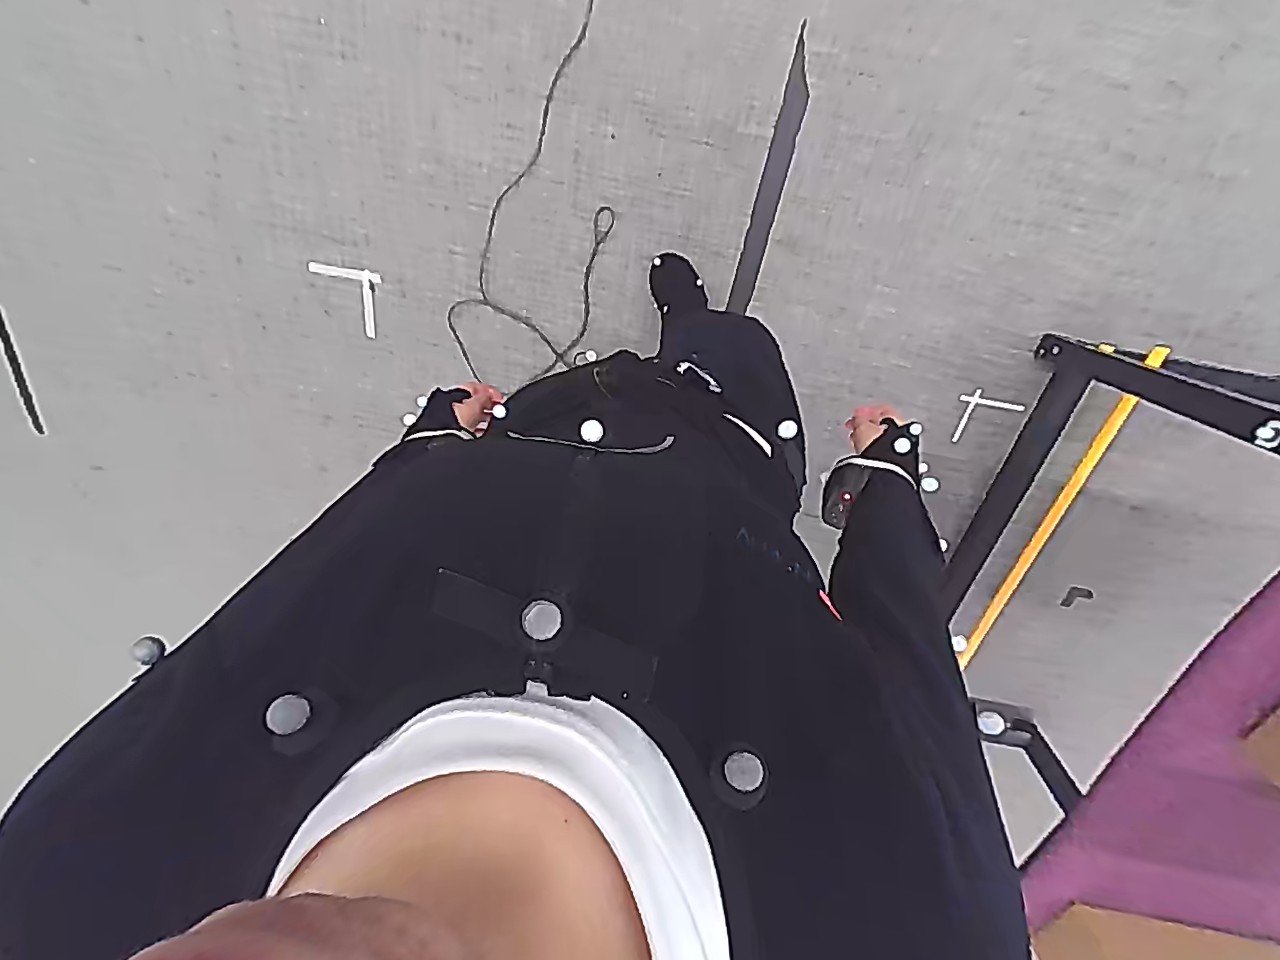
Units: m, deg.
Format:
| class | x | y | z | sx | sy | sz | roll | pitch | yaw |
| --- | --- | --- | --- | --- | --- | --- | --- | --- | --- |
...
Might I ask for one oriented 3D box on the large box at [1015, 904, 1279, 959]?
| class | x | y | z | sx | sy | sz | roll | pitch | yaw |
| --- | --- | --- | --- | --- | --- | --- | --- | --- | --- |
| large box | 0.881 | 0.933 | 0.840 | 0.408 | 0.320 | 0.320 | 10 | 117 | -2 |
